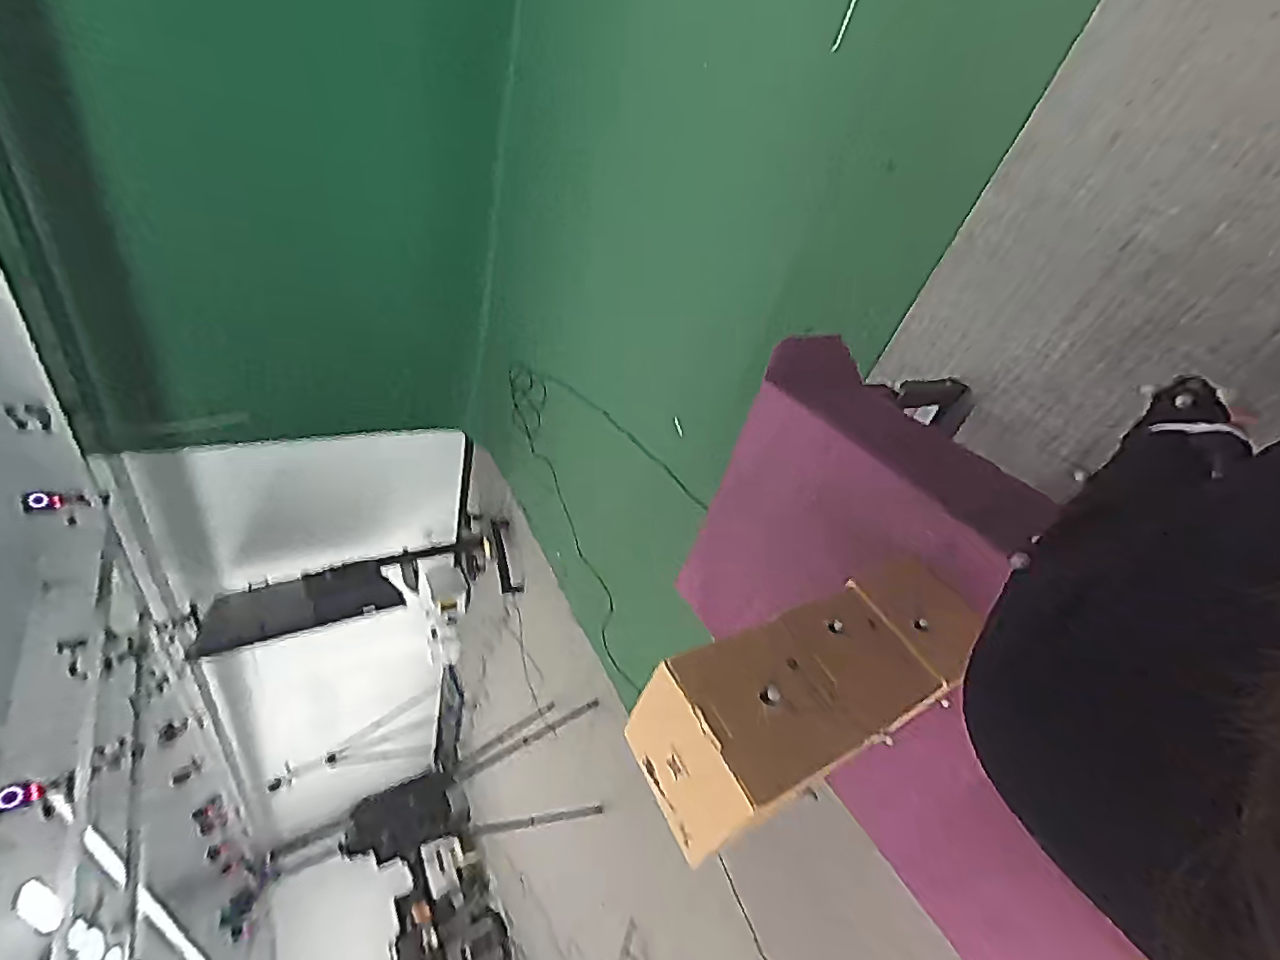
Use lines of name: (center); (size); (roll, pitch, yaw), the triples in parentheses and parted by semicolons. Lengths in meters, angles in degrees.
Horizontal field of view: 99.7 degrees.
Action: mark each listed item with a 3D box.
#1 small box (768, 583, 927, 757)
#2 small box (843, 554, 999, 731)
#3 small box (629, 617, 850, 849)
small box: (0.251, 0.265, 0.735); (0.168, 0.176, 0.179); (55, 140, 35)
small box: (0.389, 0.236, 0.818); (0.179, 0.176, 0.168); (55, 139, 34)
small box: (0.116, 0.290, 0.645); (0.168, 0.176, 0.179); (55, 138, 36)
